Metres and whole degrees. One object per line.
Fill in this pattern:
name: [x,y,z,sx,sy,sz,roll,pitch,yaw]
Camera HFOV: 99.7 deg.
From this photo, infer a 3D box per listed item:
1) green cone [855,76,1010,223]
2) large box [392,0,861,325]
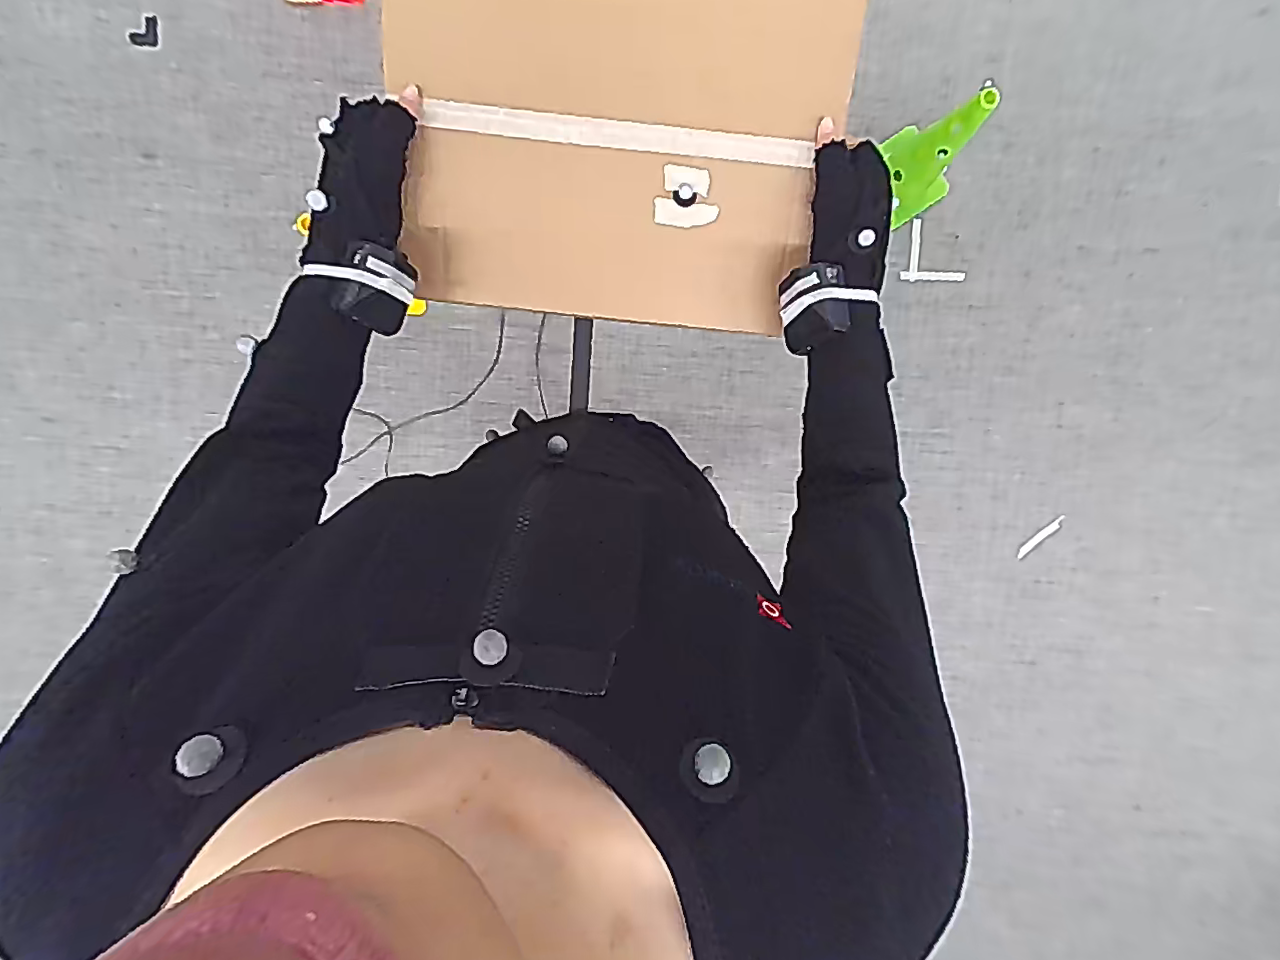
green cone: [0.685,-0.773,1.221,0.202,0.368,0.200,-34,97,1]
large box: [-0.023,-0.355,0.628,0.408,0.320,0.320,5,107,-3]
